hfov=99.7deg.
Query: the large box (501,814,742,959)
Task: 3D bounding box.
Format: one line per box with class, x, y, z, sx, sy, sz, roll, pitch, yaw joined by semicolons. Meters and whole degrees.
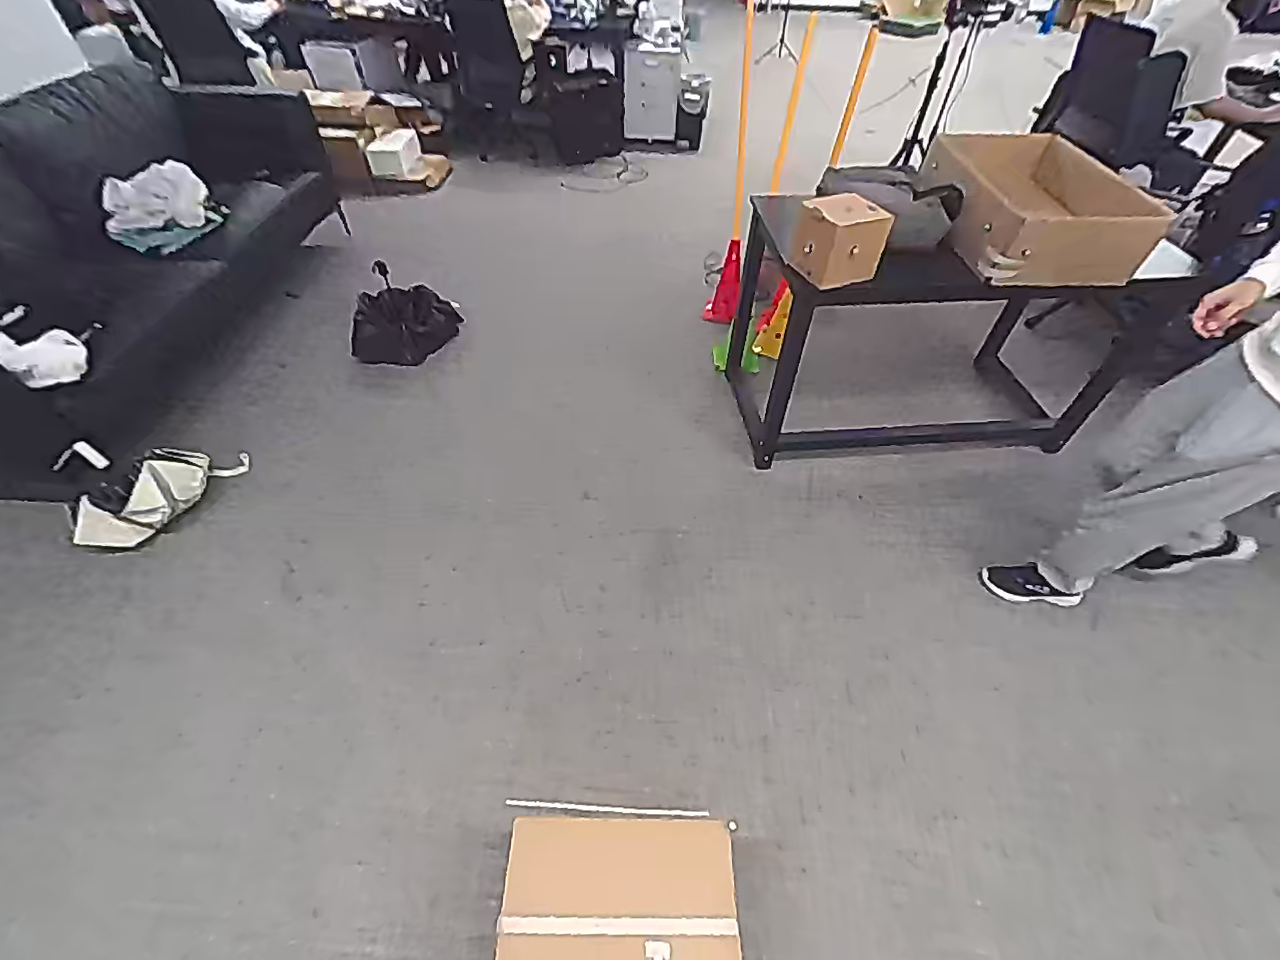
large box;-0.033;0.845;1.029;0.408;0.320;0.320;1;50;0
